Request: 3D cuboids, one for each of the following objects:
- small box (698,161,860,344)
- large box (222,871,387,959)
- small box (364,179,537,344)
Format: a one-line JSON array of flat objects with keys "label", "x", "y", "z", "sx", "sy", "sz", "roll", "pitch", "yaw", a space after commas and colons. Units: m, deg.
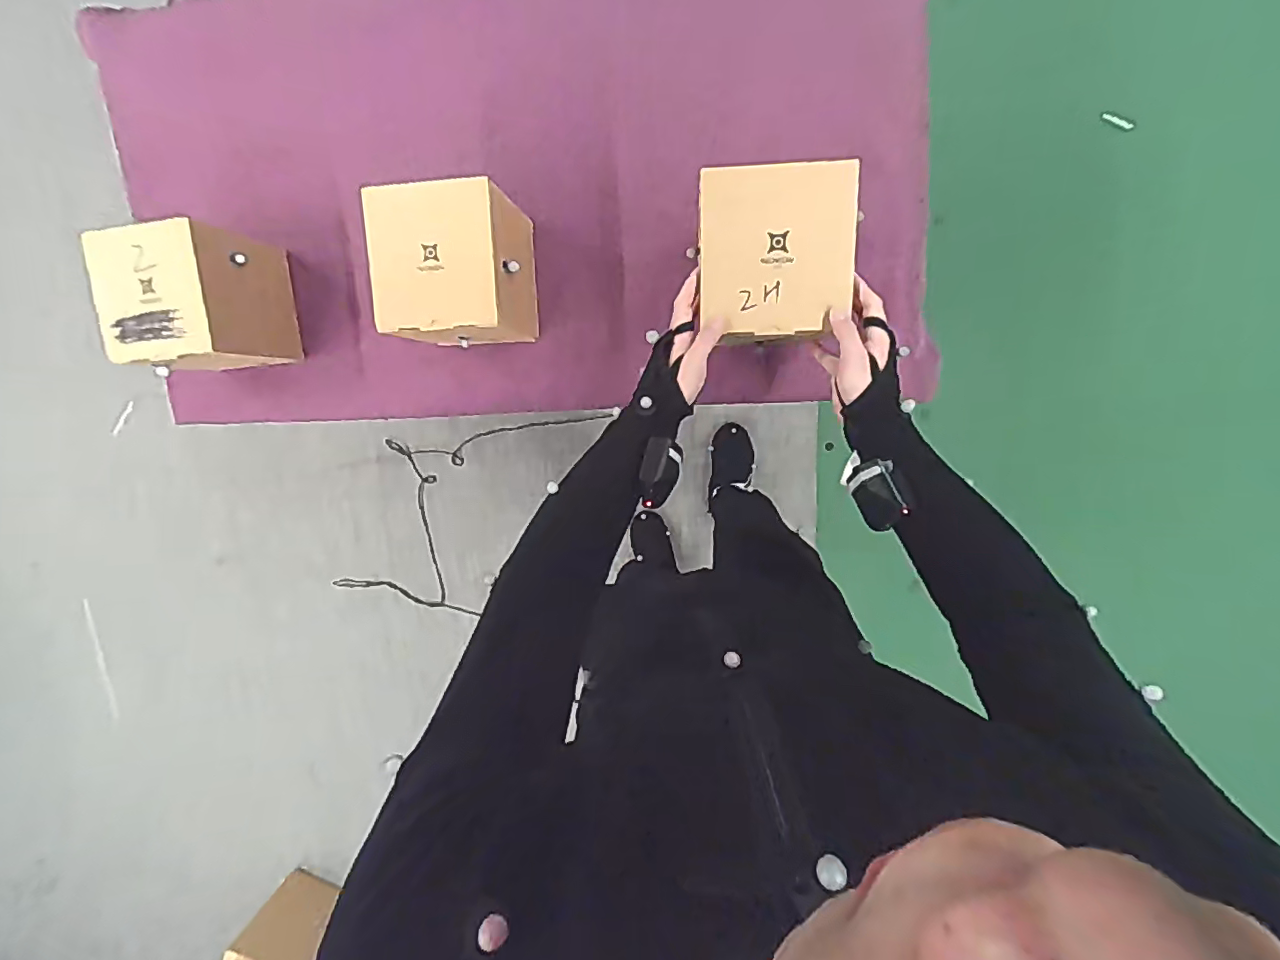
[{"label": "small box", "x": 0.156, "y": -0.262, "z": 0.662, "sx": 0.168, "sy": 0.176, "sz": 0.179, "roll": 0, "pitch": 101, "yaw": 6}, {"label": "large box", "x": -1.191, "y": 1.693, "z": 1.909, "sx": 0.408, "sy": 0.320, "sz": 0.320, "roll": 21, "pitch": 103, "yaw": 1}, {"label": "small box", "x": -0.247, "y": -0.287, "z": 0.744, "sx": 0.168, "sy": 0.176, "sz": 0.179, "roll": -1, "pitch": 100, "yaw": 7}]
